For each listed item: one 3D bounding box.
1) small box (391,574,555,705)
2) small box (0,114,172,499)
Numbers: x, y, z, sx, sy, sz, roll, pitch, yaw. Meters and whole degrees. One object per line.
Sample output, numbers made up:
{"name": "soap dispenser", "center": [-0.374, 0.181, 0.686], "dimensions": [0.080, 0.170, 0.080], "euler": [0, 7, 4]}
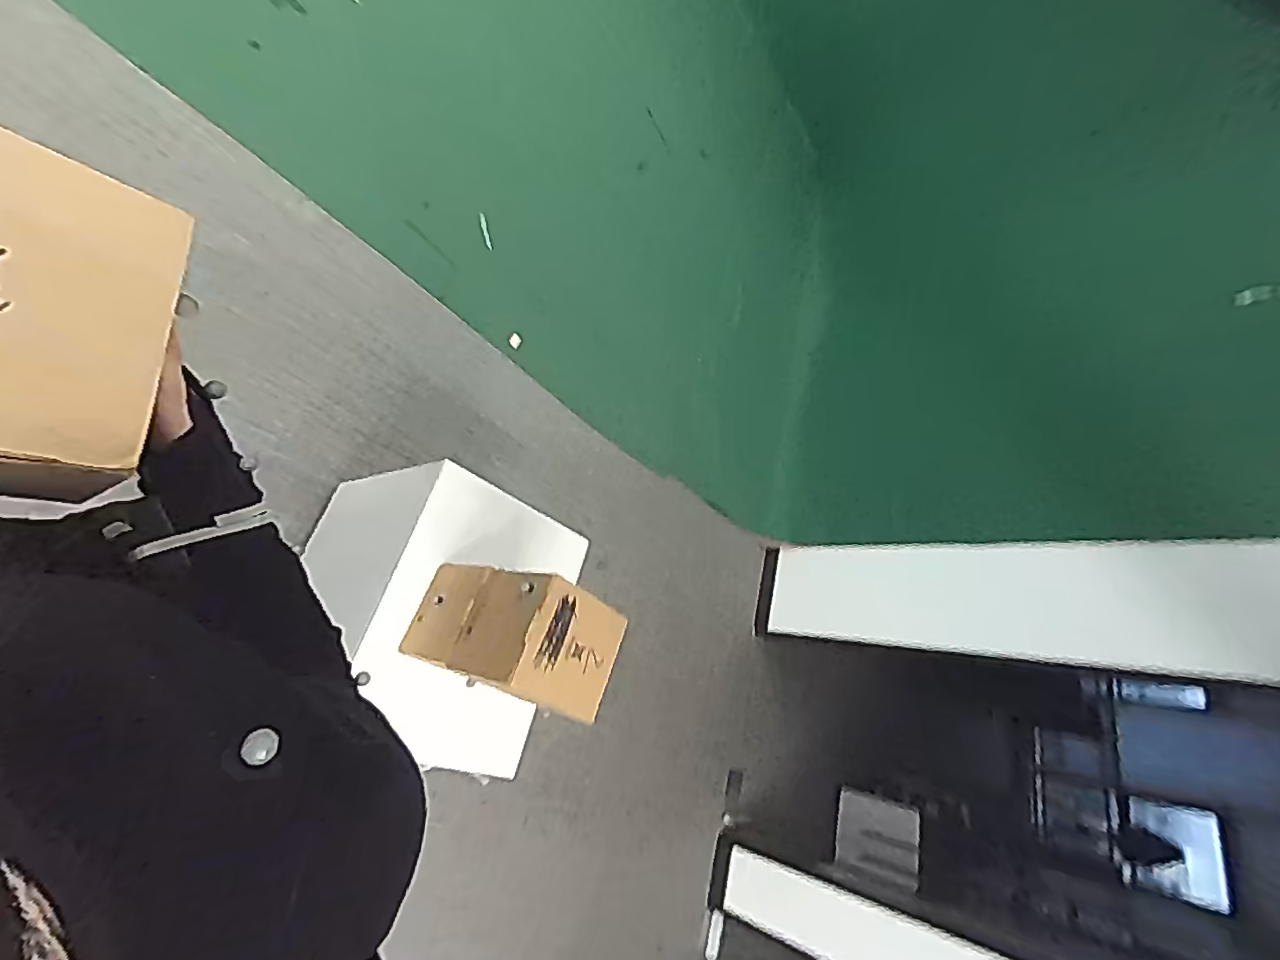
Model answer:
{"name": "small box", "center": [-0.285, 0.269, 0.935], "dimensions": [0.179, 0.176, 0.168], "euler": [42, 55, -38]}
{"name": "small box", "center": [-0.398, -0.095, 0.291], "dimensions": [0.168, 0.176, 0.179], "euler": [18, 68, -52]}
